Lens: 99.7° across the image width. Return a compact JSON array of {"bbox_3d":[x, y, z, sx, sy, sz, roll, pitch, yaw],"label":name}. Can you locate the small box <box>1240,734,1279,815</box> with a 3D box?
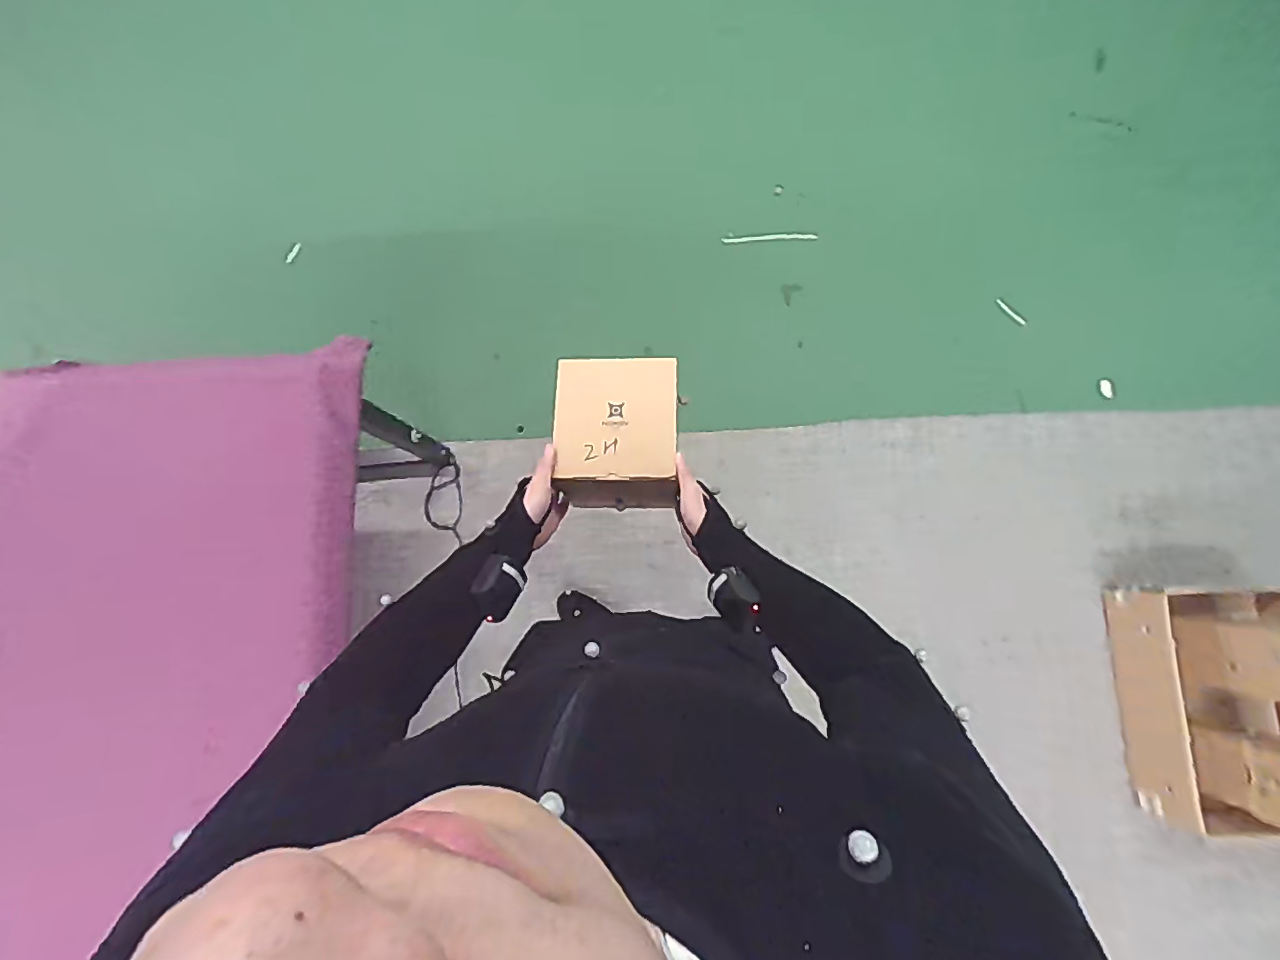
[{"bbox_3d":[1.586,0.708,1.264,0.179,0.176,0.168,2,82,2],"label":"small box"}]

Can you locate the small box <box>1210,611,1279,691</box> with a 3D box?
[{"bbox_3d":[1.566,0.413,1.311,0.179,0.176,0.168,-4,80,-1],"label":"small box"}]

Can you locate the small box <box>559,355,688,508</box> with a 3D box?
[{"bbox_3d":[-0.017,-0.065,0.795,0.168,0.176,0.179,1,75,4],"label":"small box"}]
